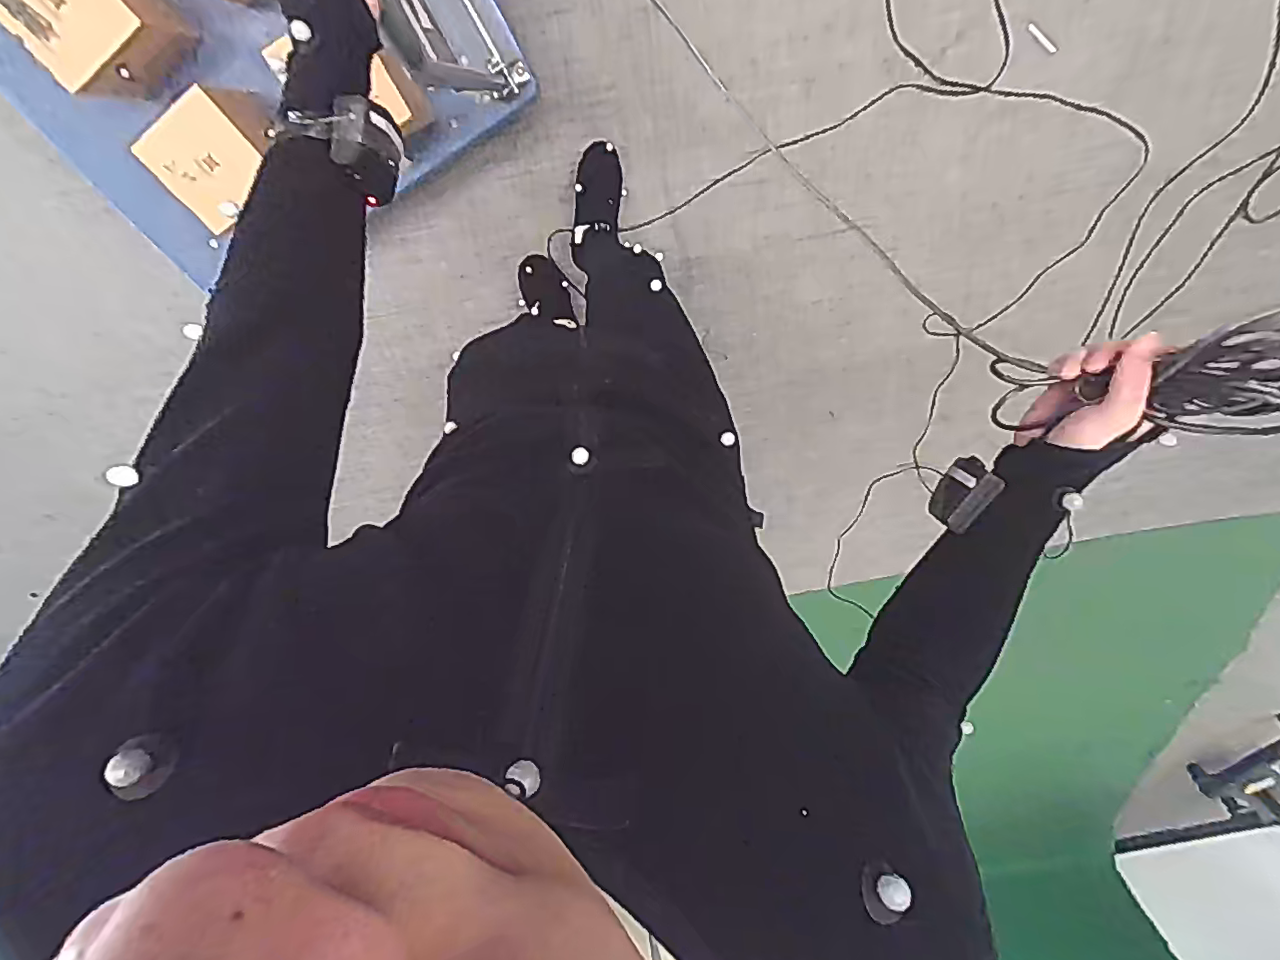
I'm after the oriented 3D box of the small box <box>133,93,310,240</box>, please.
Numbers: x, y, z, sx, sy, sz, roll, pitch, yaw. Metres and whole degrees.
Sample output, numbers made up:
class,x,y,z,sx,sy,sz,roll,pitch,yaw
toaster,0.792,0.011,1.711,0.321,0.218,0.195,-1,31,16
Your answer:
class,x,y,z,sx,sy,sz,roll,pitch,yaw
small box,-0.756,-0.581,1.006,0.179,0.176,0.168,-29,120,12

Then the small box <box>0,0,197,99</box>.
class,x,y,z,sx,sy,sz,roll,pitch,yaw
small box,-0.887,-0.755,0.880,0.179,0.176,0.168,-30,122,12
